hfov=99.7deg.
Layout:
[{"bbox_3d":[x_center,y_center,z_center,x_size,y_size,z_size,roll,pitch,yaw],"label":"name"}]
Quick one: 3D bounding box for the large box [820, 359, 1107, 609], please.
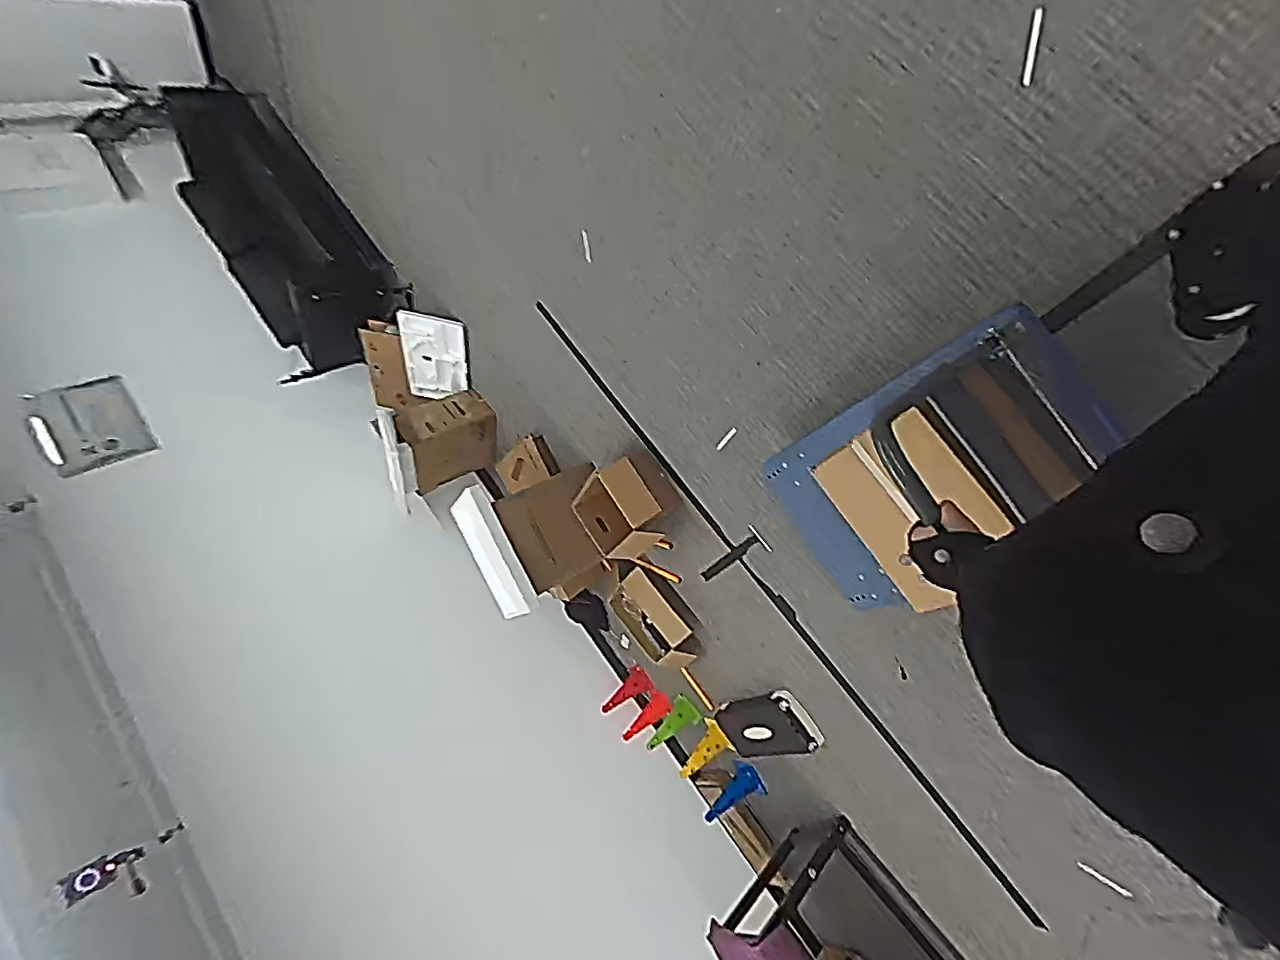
[{"bbox_3d":[0.703,0.010,1.203,0.408,0.320,0.320,56,146,10],"label":"large box"}]
